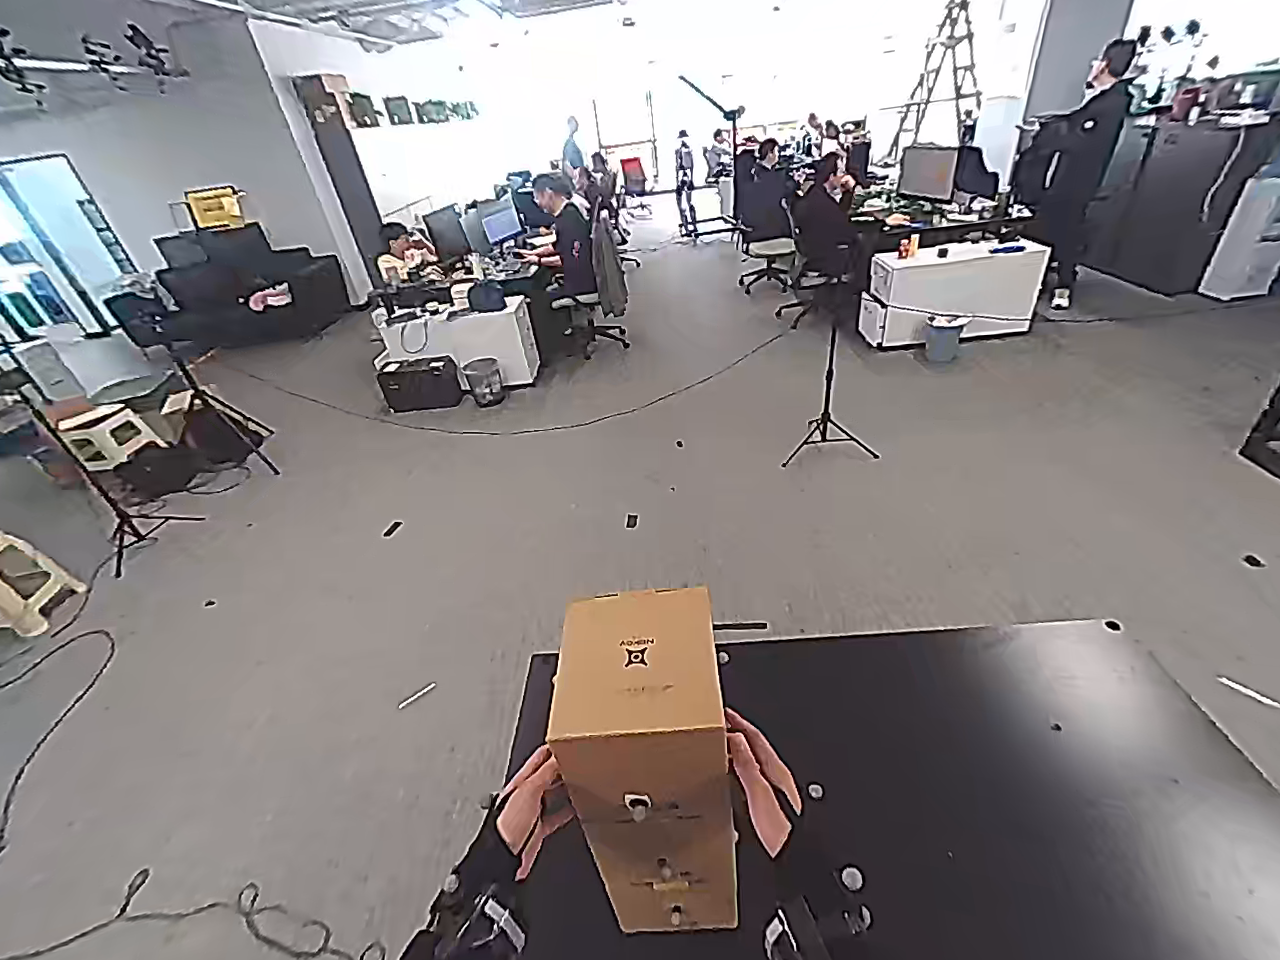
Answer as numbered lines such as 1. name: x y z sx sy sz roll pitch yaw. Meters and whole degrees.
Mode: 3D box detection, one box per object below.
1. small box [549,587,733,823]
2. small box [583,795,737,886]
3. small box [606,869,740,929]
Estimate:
1. small box: 0.009 0.243 0.593 0.168 0.176 0.179 -6 34 5
2. small box: 0.030 0.377 0.684 0.168 0.176 0.179 -6 34 4
3. small box: 0.049 0.513 0.774 0.168 0.176 0.179 -6 34 3
